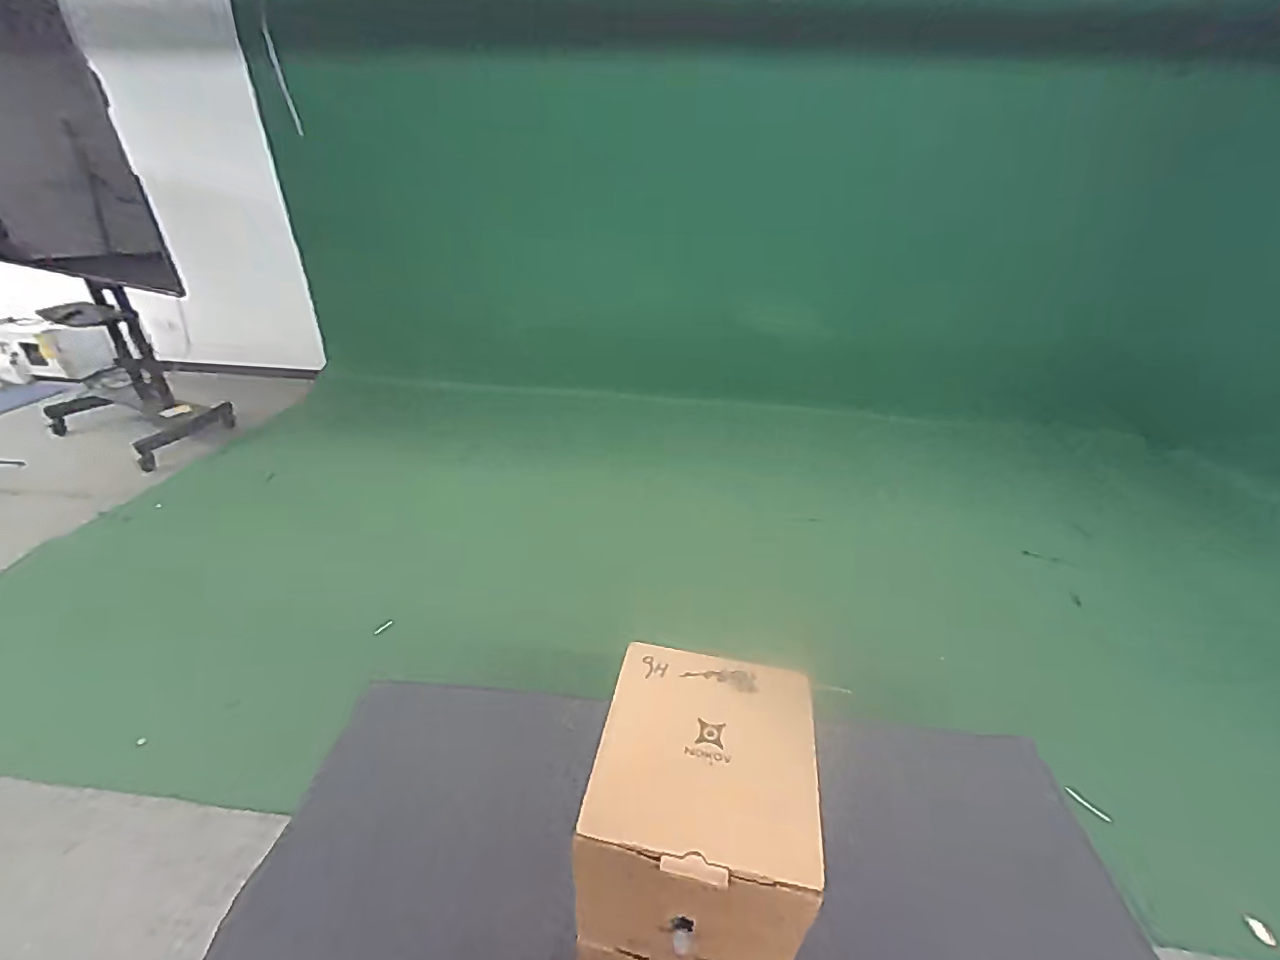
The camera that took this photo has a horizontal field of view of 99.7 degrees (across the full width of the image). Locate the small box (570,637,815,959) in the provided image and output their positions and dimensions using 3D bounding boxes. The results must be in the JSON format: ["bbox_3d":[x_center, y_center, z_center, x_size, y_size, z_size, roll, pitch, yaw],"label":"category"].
[{"bbox_3d":[0.049,0.270,0.463,0.168,0.176,0.179,9,34,10],"label":"small box"}]

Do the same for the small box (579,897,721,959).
[{"bbox_3d":[0.042,0.409,0.550,0.168,0.176,0.179,8,31,8],"label":"small box"}]
